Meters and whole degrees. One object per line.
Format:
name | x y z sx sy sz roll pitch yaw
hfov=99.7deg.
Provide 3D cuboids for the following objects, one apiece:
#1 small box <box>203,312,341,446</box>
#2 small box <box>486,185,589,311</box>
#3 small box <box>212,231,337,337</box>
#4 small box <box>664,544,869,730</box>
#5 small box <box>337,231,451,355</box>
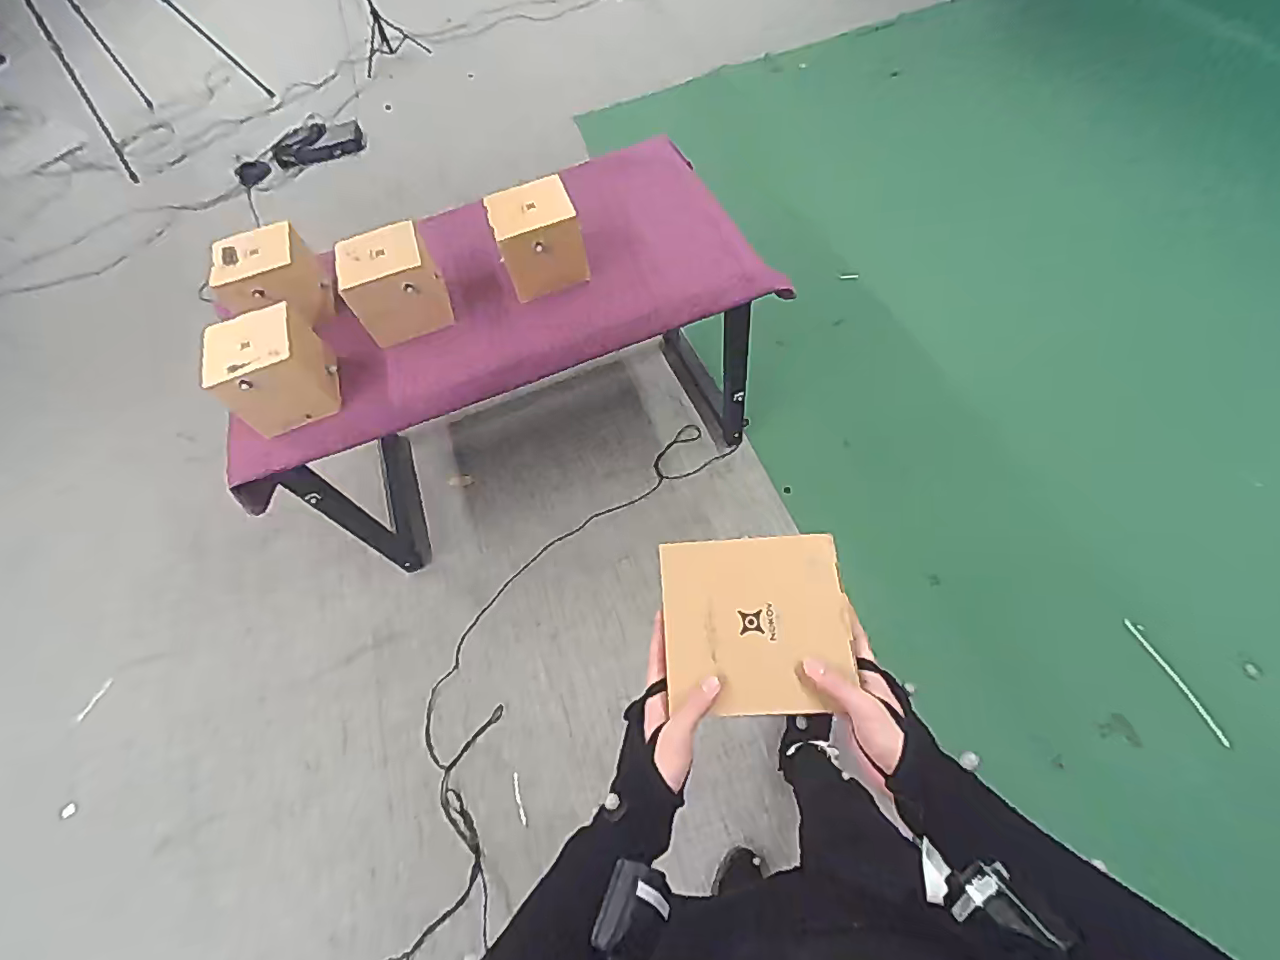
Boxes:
small box | -0.738 -0.202 1.101 0.168 0.176 0.179 -22 58 -5
small box | -0.222 -0.516 1.214 0.179 0.176 0.168 -20 60 -3
small box | -0.836 -0.432 1.249 0.179 0.176 0.168 -20 60 -5
small box | 0.118 0.172 0.579 0.179 0.176 0.168 -4 67 4
small box | -0.533 -0.407 1.192 0.179 0.176 0.168 -20 59 -4
